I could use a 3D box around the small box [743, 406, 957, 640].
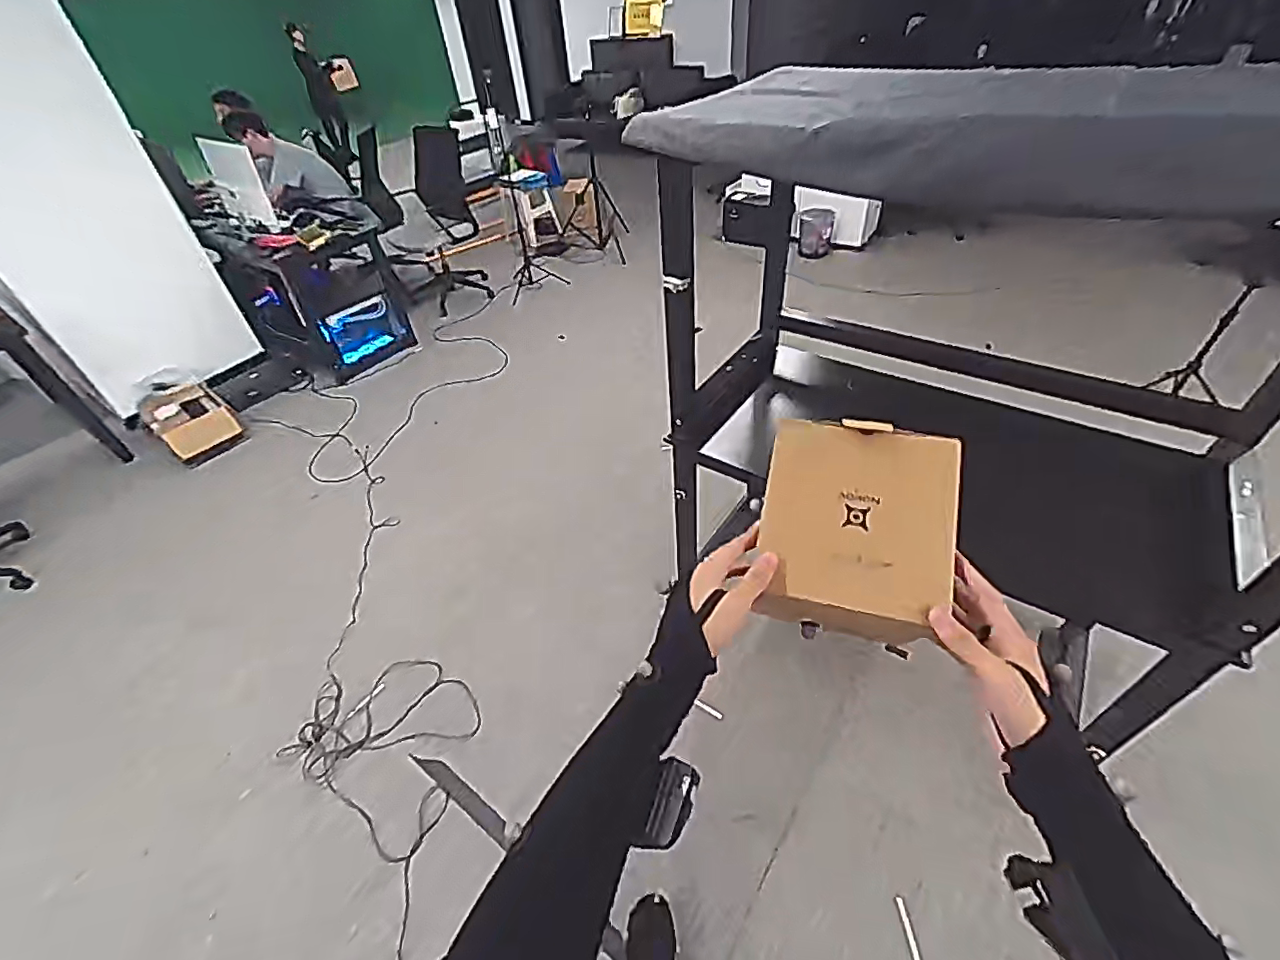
[{"bbox_3d":[0.201,0.050,0.552,0.168,0.176,0.179,10,70,15],"label":"small box"}]
